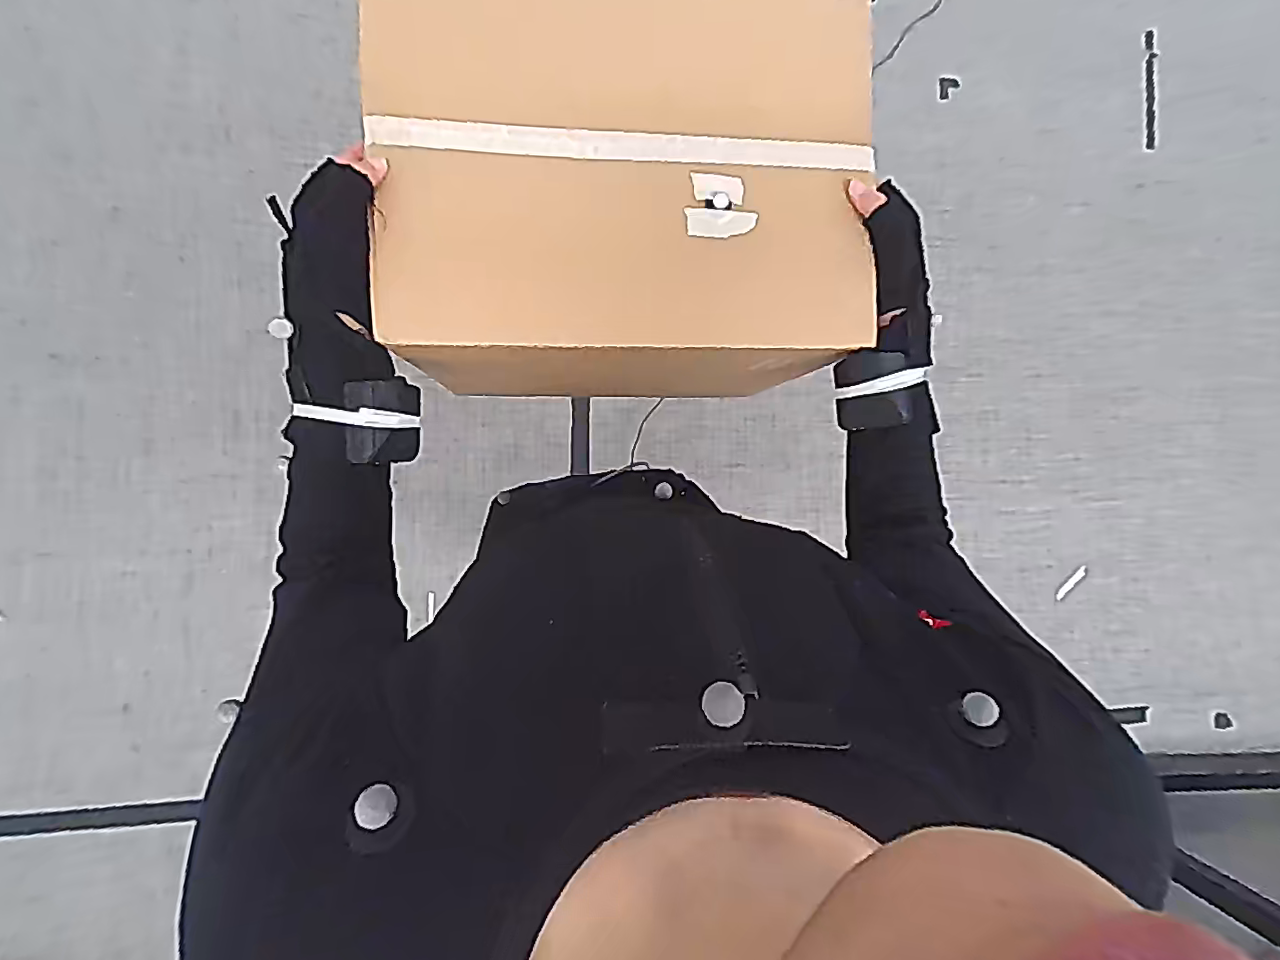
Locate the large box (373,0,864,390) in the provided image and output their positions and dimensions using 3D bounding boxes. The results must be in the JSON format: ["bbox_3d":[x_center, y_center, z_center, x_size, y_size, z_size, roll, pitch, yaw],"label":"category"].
[{"bbox_3d":[-0.027,-0.275,0.587,0.408,0.320,0.320,-1,93,-9],"label":"large box"}]
